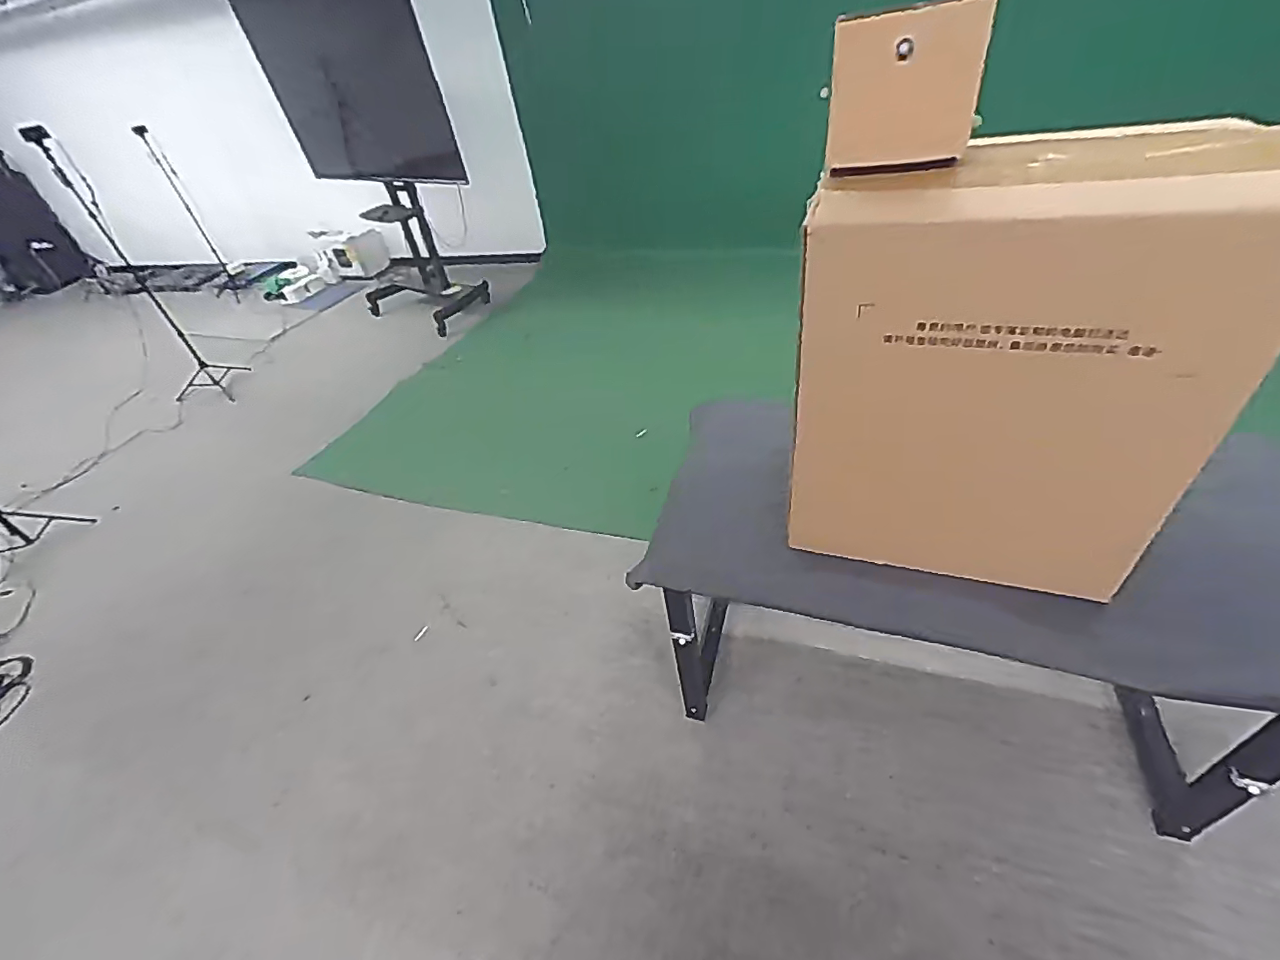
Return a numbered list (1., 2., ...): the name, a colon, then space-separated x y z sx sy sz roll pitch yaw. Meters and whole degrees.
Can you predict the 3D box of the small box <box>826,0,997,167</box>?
1. small box: 0.358 -0.536 0.745 0.179 0.176 0.168 8 37 18
